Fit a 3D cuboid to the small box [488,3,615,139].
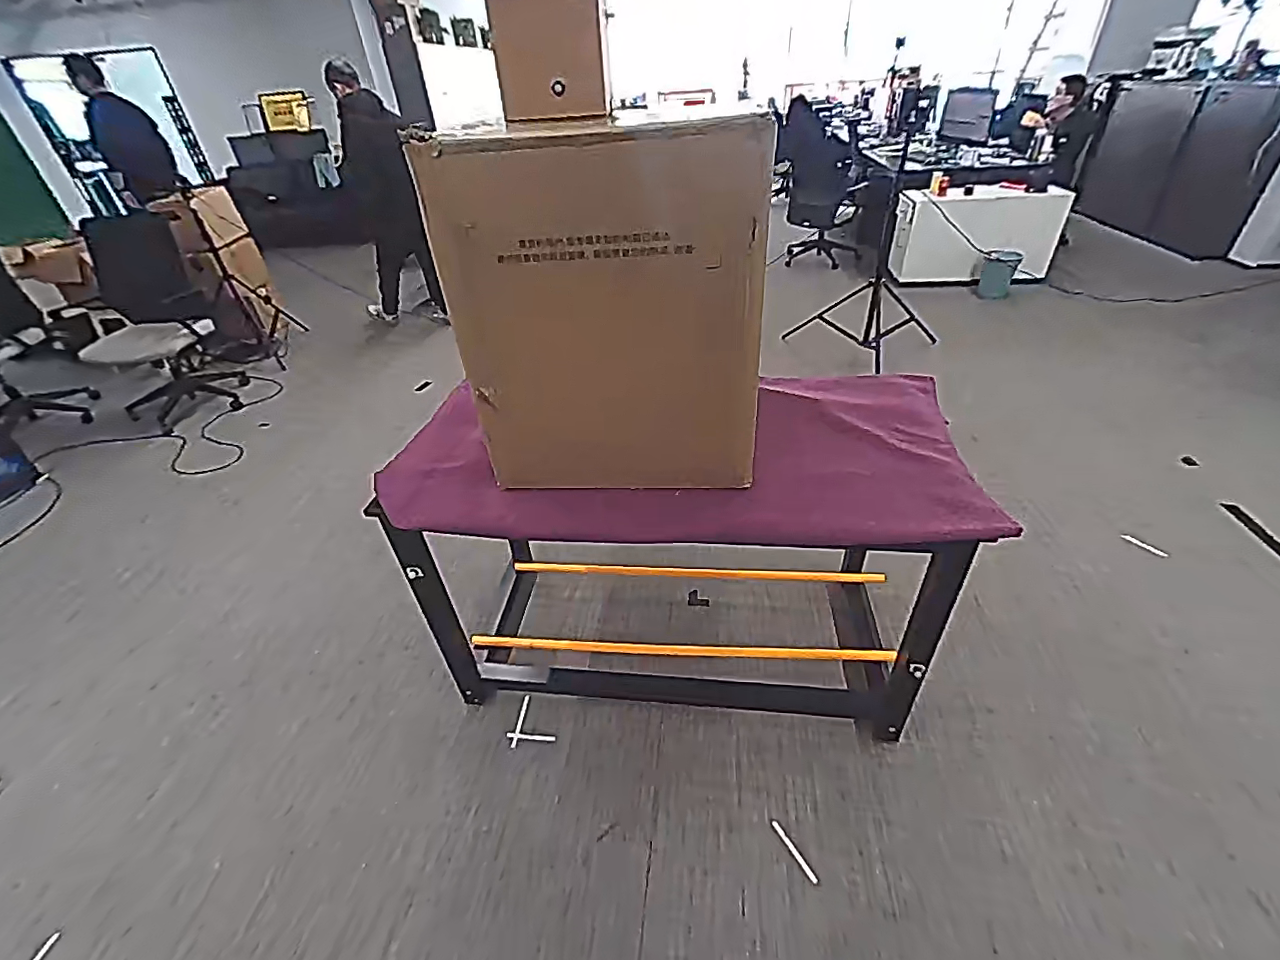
[{"bbox_3d":[-0.142,-0.700,0.929,0.179,0.176,0.168,0,37,4],"label":"small box"}]
